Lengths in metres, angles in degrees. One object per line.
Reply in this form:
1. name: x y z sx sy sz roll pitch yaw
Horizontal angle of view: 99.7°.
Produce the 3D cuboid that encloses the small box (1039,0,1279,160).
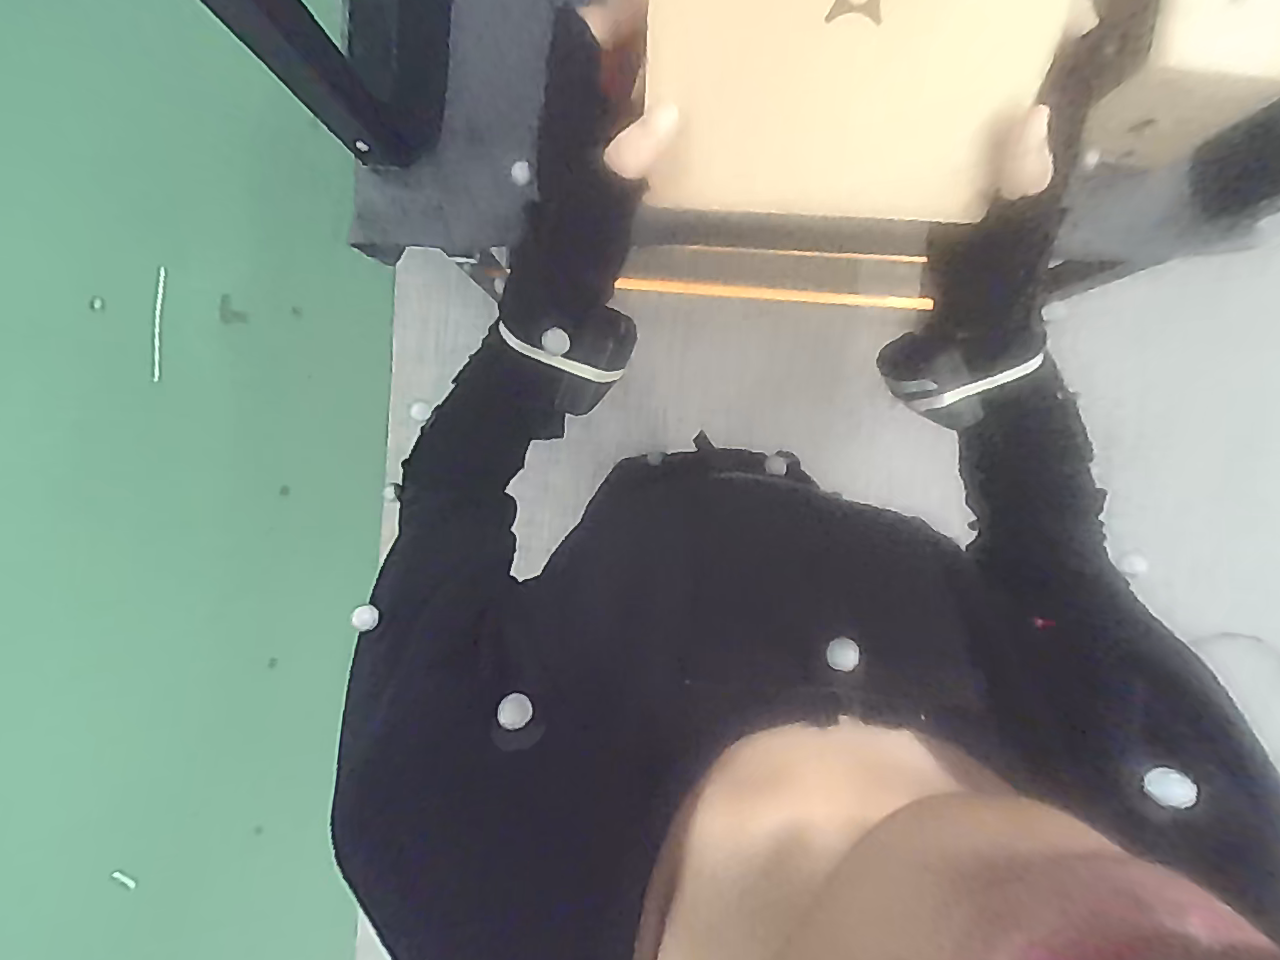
1. small box: 0.611 -0.508 0.630 0.168 0.176 0.179 8 93 1
